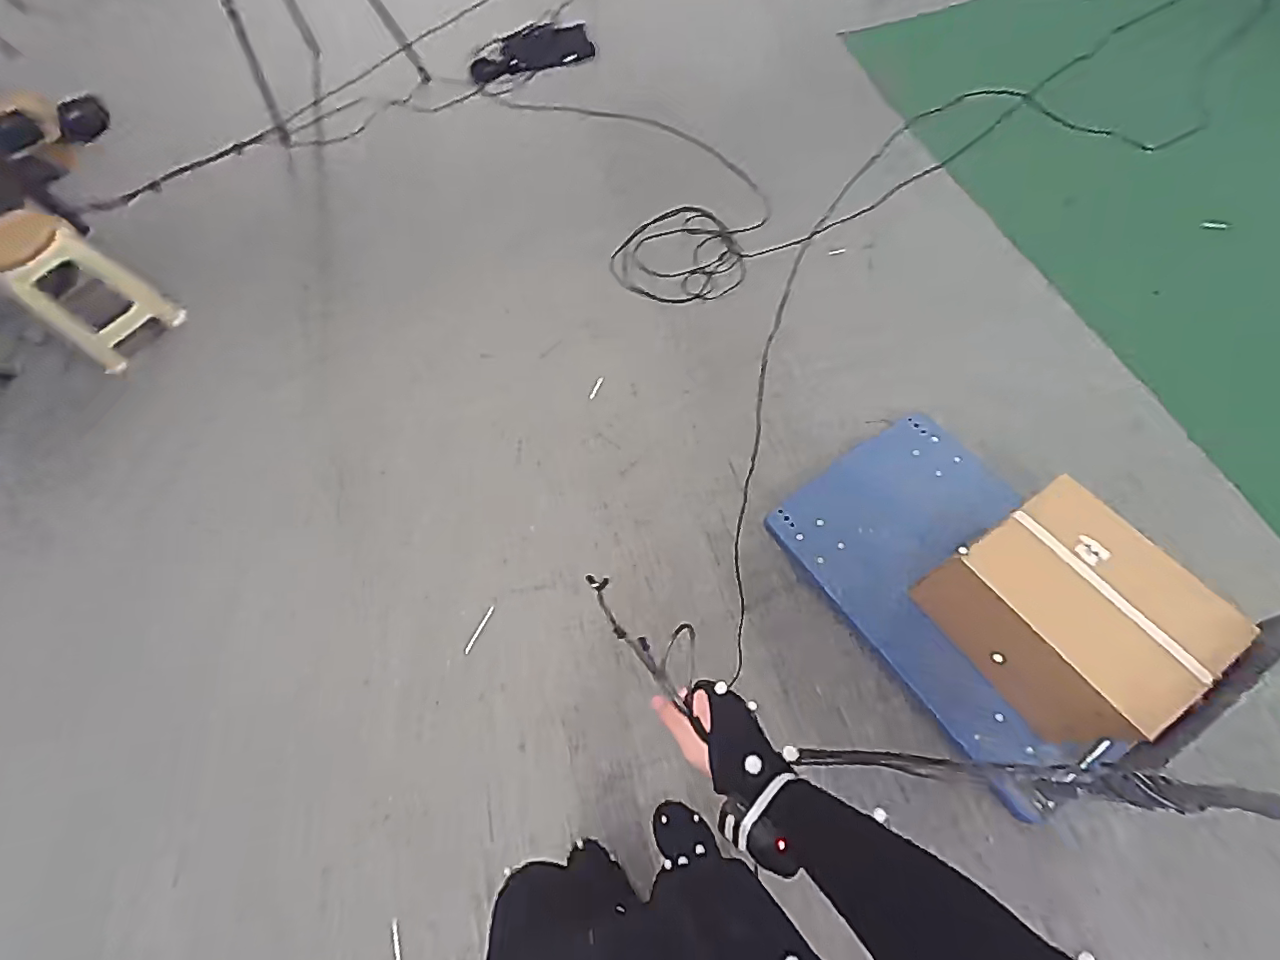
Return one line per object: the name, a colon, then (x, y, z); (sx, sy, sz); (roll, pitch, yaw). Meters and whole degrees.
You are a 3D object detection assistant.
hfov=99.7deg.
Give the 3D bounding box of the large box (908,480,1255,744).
large box: (0.871, 0.285, 1.142); (0.320, 0.320, 0.408); (-33, 65, -10)
